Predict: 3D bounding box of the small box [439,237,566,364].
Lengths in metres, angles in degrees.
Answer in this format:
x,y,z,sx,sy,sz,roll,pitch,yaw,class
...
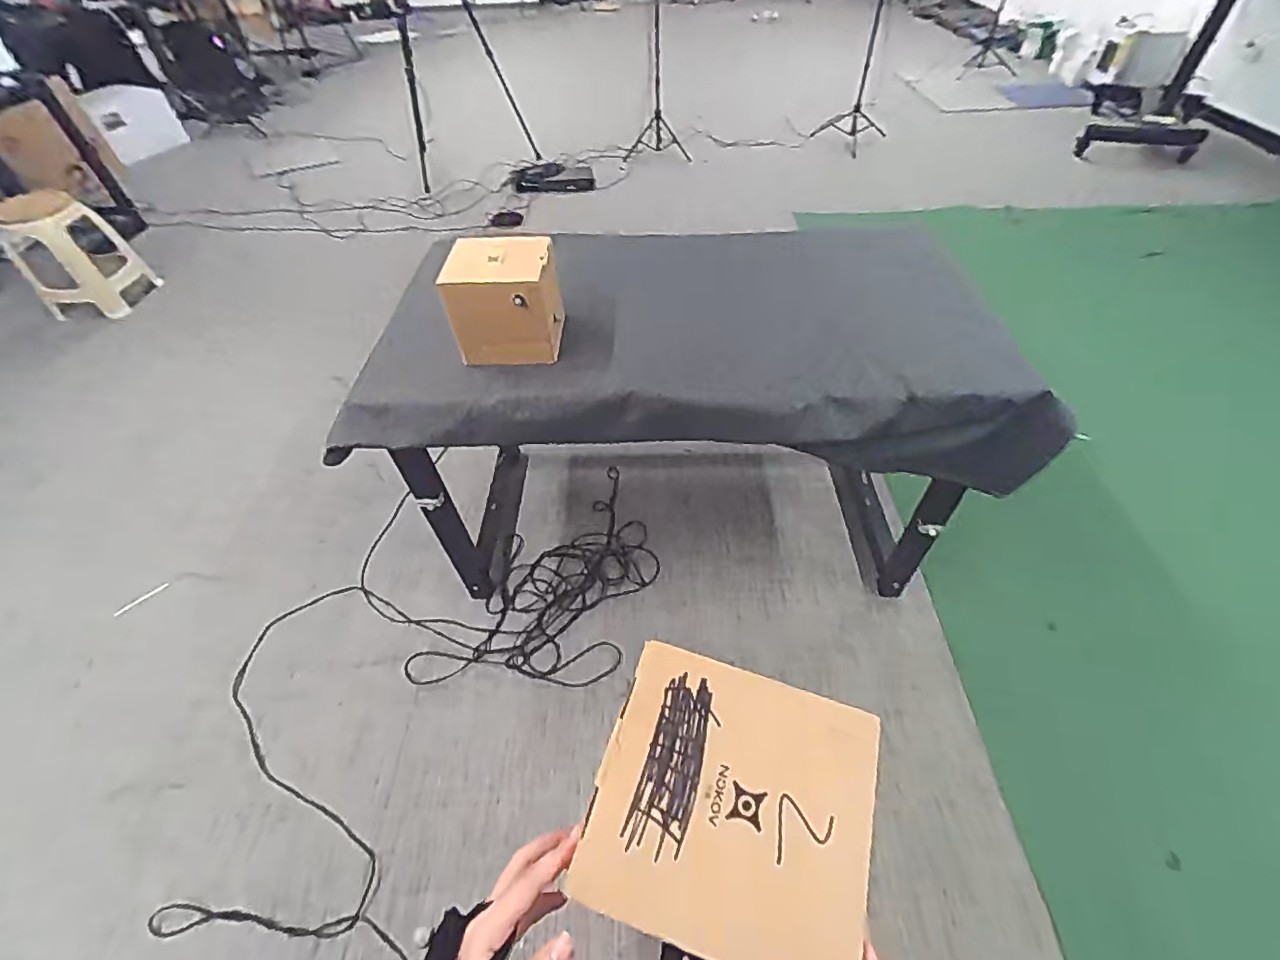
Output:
x,y,z,sx,sy,sz,roll,pitch,yaw,class
-0.242,-0.327,0.998,0.179,0.176,0.168,-1,49,1,small box
